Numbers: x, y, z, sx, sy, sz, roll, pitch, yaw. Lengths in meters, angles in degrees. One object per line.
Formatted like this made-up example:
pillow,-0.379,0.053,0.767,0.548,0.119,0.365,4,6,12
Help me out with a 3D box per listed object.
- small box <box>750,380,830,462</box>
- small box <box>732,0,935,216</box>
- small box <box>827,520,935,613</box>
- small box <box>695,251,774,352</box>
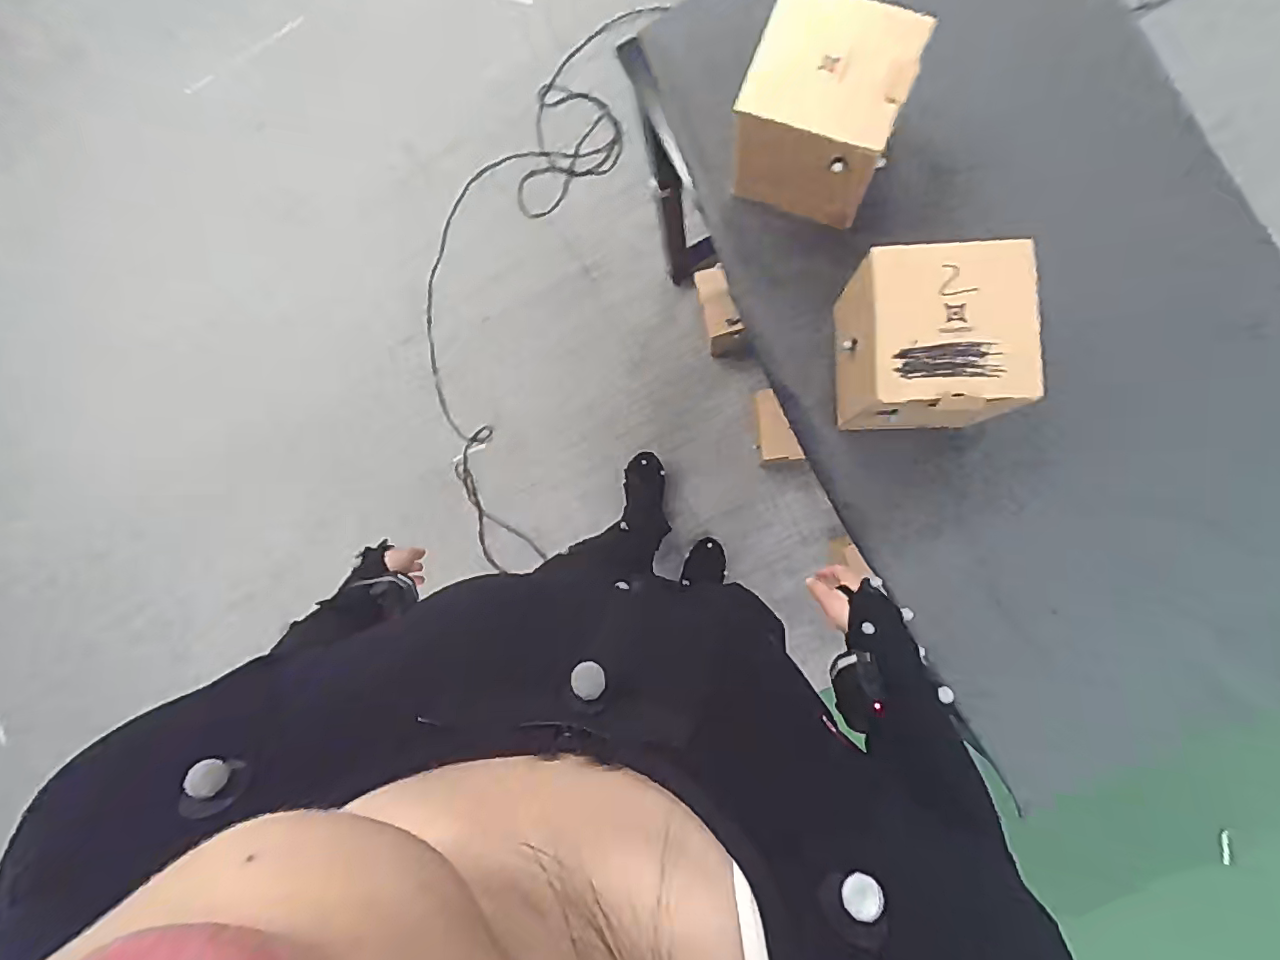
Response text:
small box,0.375,-0.141,1.375,0.168,0.176,0.179,-6,84,6
small box,0.224,-0.468,0.681,0.179,0.176,0.168,22,89,7
small box,0.580,0.207,1.327,0.168,0.176,0.179,-20,85,6
small box,0.240,-0.459,1.412,0.168,0.176,0.179,-14,84,6
